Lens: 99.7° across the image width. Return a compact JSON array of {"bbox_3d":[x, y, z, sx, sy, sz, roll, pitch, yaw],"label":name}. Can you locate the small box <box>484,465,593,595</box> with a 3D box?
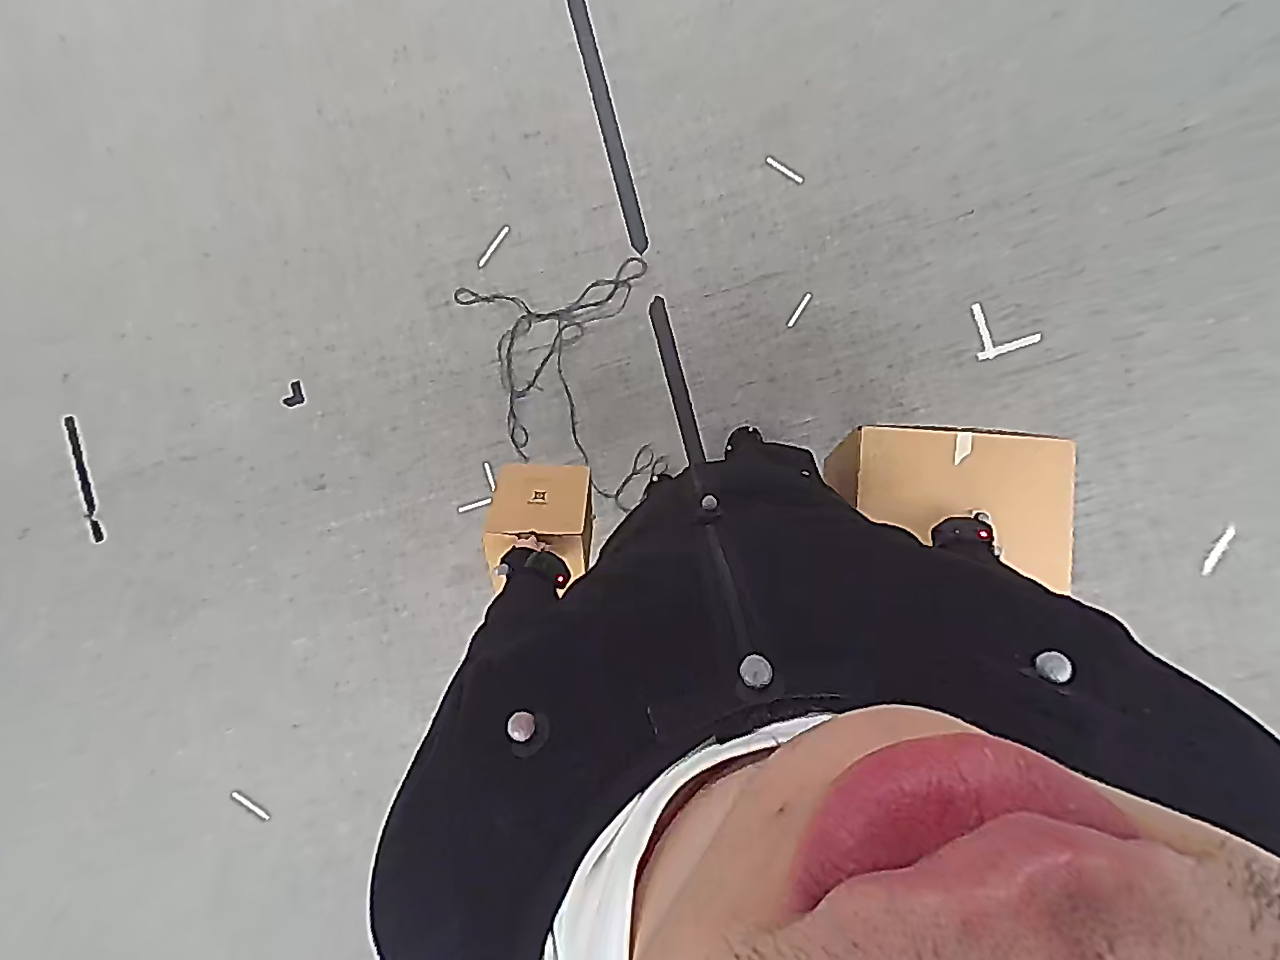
[{"bbox_3d":[-0.175,0.094,0.991,0.168,0.179,0.176,2,132,-2],"label":"small box"}]
